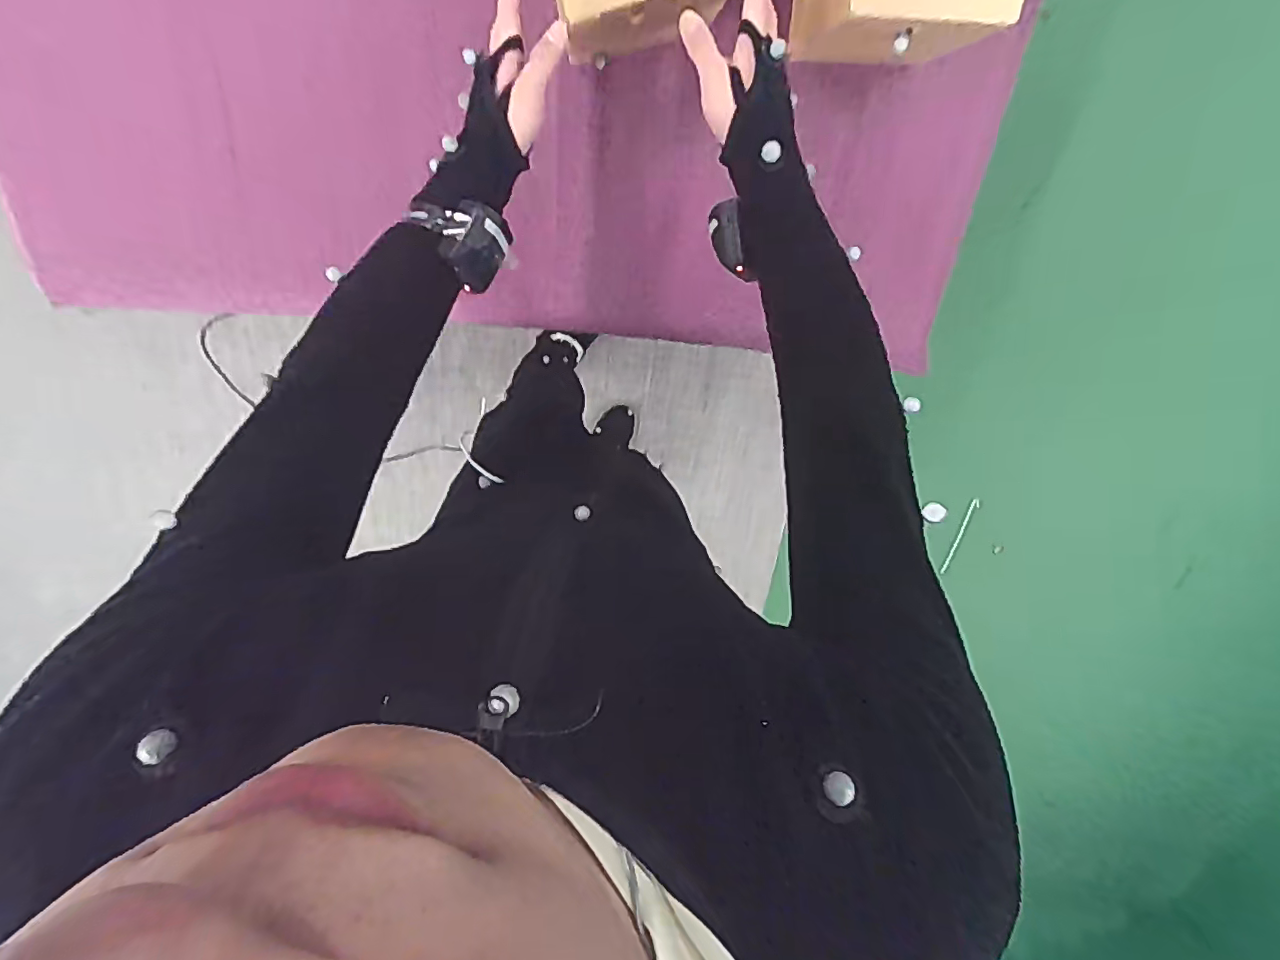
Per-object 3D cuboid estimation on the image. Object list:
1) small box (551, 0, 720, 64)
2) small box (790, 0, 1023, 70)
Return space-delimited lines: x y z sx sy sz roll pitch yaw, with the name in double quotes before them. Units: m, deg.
"small box" -0.015 -0.536 0.525 0.168 0.176 0.179 -14 117 1
"small box" 0.273 -0.540 0.552 0.179 0.176 0.168 -1 117 -4
